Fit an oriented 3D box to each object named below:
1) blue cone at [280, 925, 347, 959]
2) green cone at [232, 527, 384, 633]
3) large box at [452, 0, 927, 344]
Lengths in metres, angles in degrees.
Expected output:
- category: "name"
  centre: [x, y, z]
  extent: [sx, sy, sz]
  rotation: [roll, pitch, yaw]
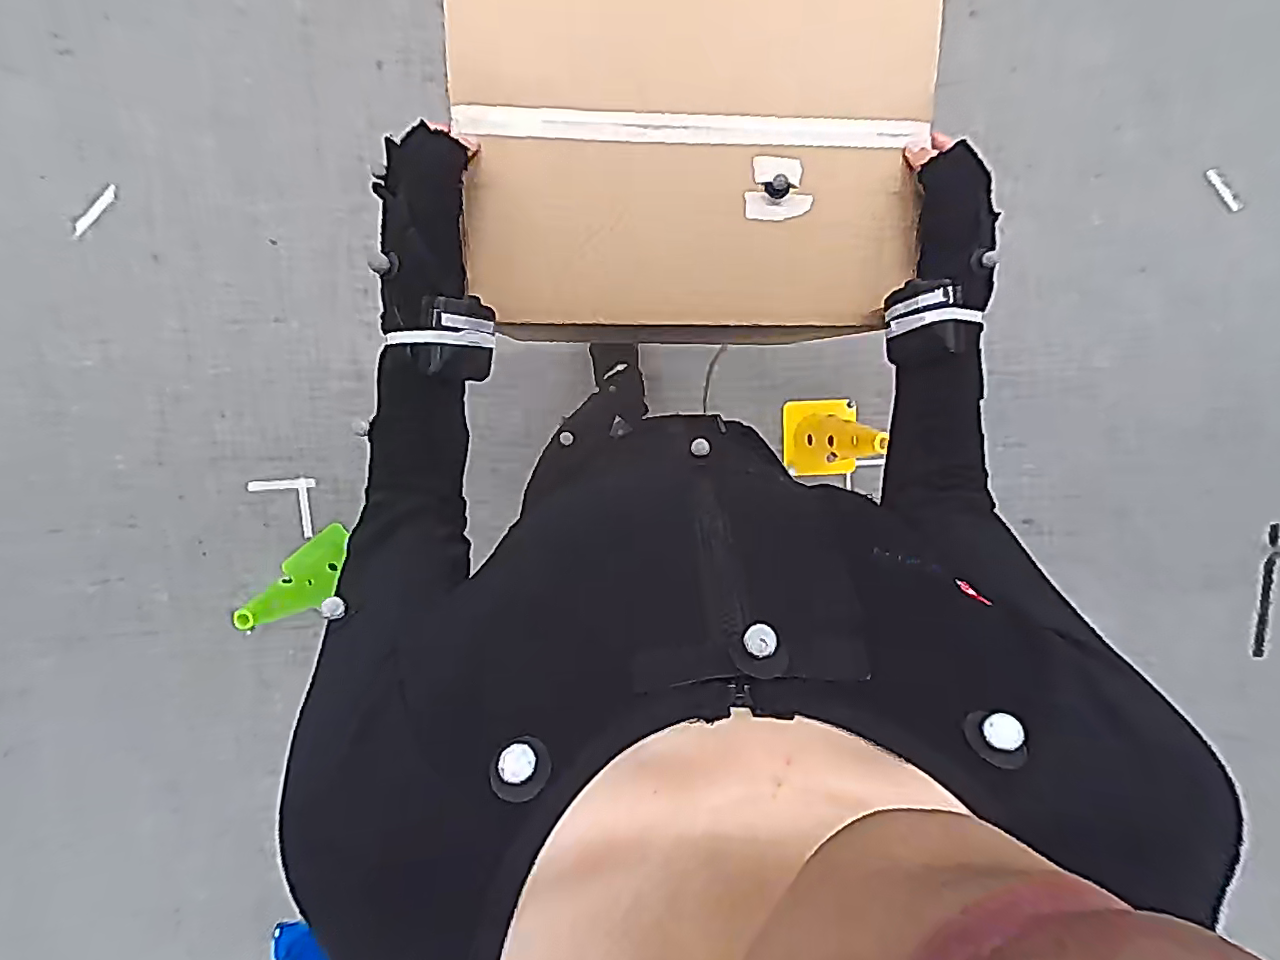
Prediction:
- category: "blue cone"
  centre: [-0.939, 1.386, 1.397]
  extent: [0.192, 0.380, 0.193]
  rotation: [2, 95, -1]
- category: "green cone"
  centre: [-0.809, 0.269, 1.273]
  extent: [0.202, 0.368, 0.200]
  rotation: [-39, 95, 3]
- category: "large box"
  centre: [0.034, -0.325, 0.607]
  extent: [0.408, 0.320, 0.320]
  rotation: [-1, 101, -5]
